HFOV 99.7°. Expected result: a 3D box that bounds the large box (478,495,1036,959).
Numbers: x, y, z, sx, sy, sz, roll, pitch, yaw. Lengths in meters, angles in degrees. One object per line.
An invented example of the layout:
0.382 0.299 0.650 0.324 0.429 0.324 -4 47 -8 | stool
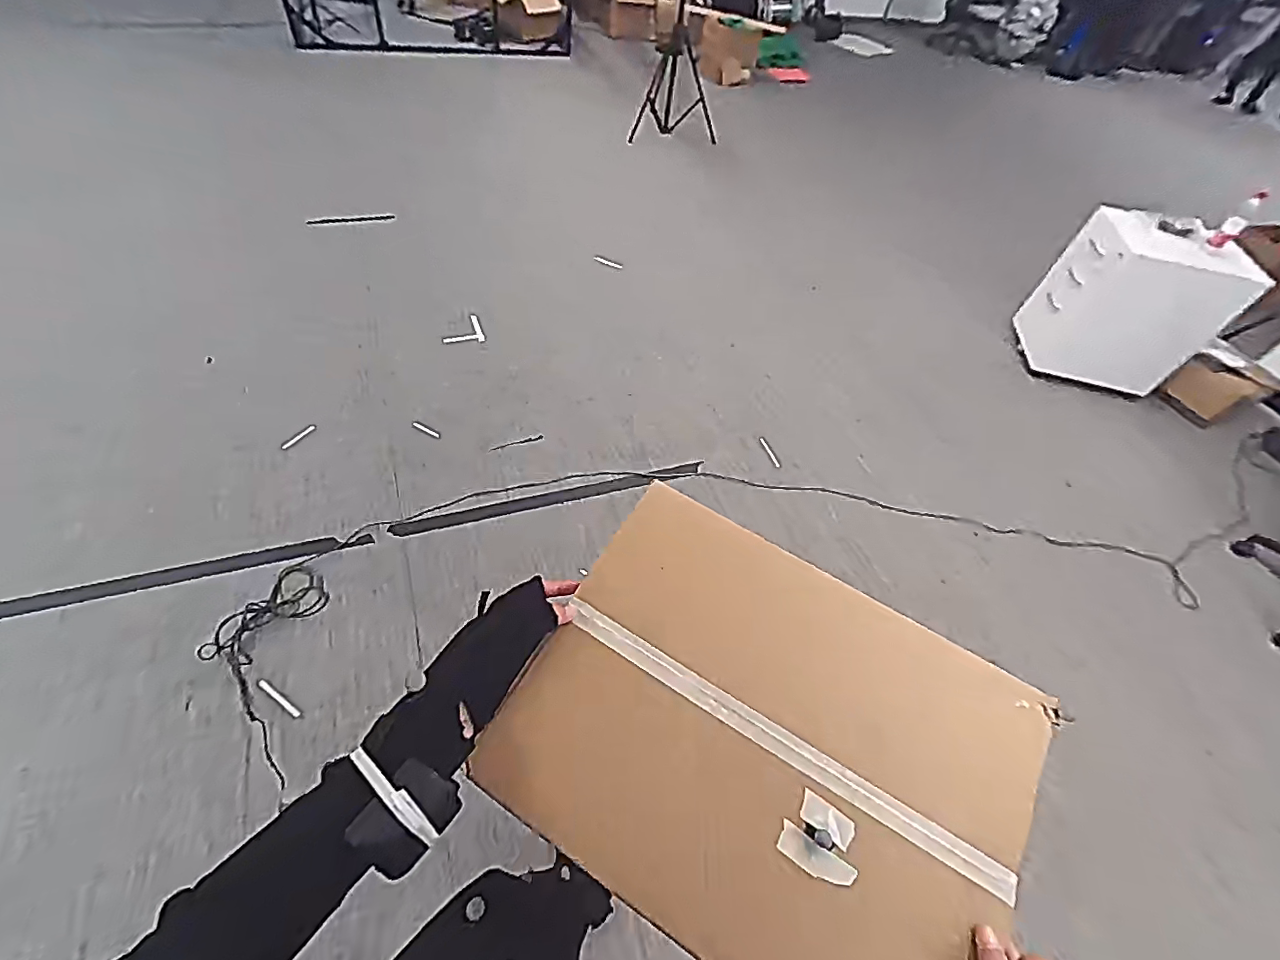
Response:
0.104 0.286 0.597 0.408 0.320 0.320 29 66 14 | large box
